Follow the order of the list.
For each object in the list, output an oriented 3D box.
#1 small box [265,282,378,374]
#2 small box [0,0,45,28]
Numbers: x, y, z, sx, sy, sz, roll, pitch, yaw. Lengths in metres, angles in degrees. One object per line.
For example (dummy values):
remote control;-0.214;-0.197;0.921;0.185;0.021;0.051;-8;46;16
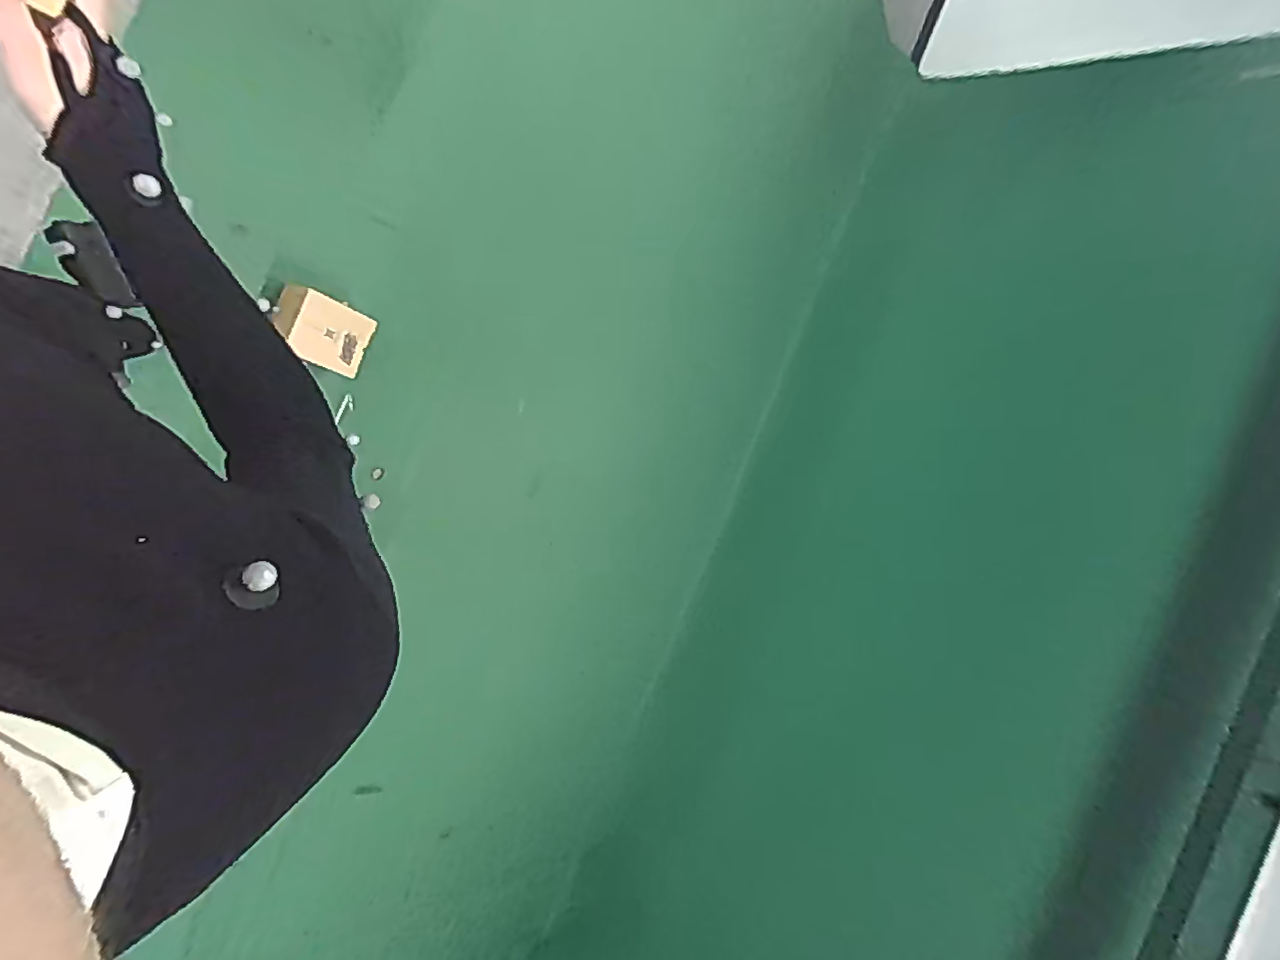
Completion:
small box;-0.823;-0.396;1.398;0.179;0.176;0.168;23;89;-52
small box;-0.487;-0.432;0.336;0.168;0.176;0.179;4;105;-56
